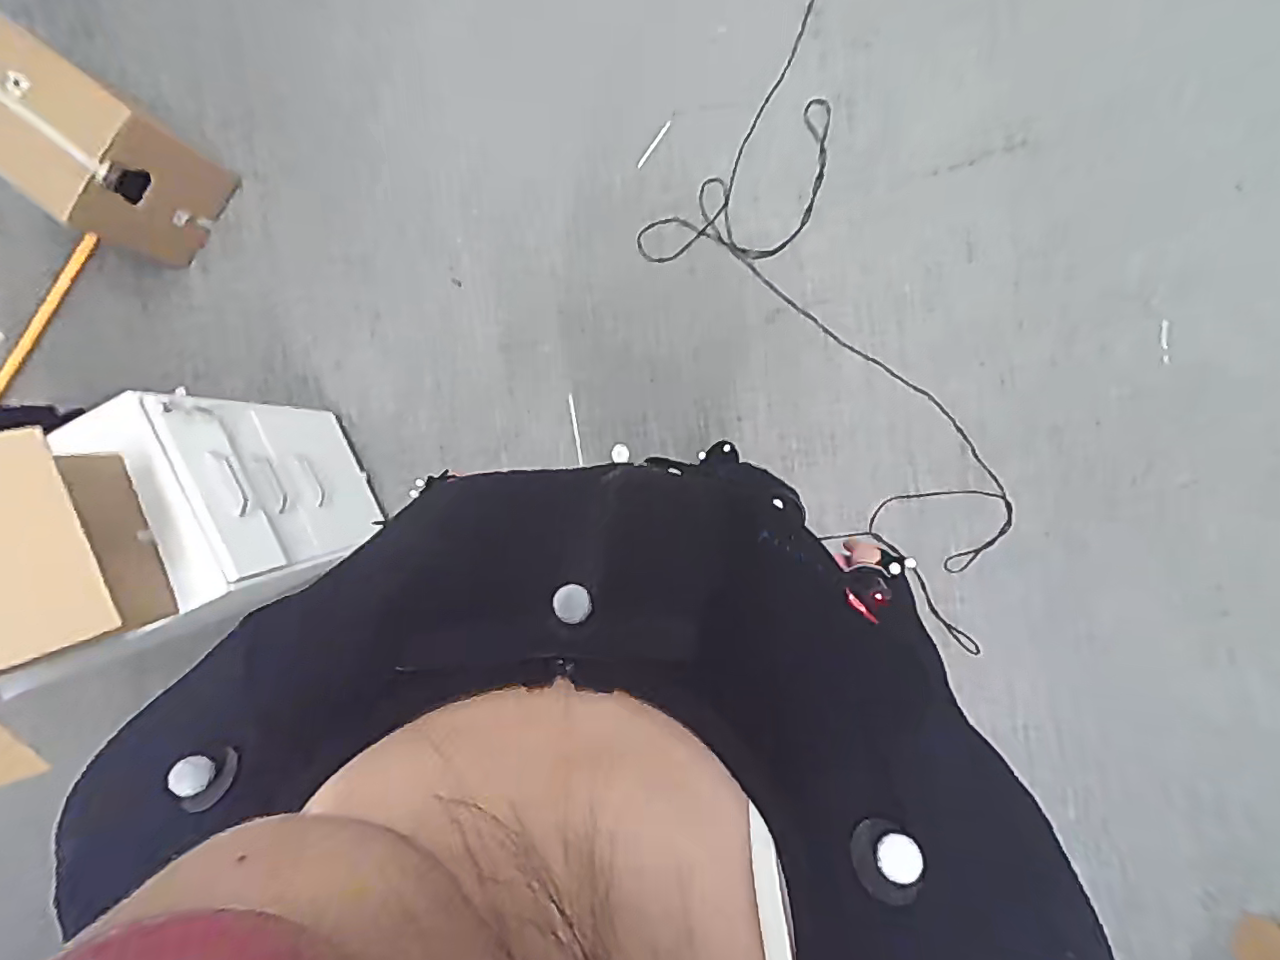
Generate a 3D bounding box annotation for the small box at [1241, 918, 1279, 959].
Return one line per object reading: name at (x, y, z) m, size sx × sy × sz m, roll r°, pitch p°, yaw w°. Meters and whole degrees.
small box at (1.661, 1.239, 1.337) m, size 0.168 × 0.176 × 0.179 m, roll 5°, pitch 93°, yaw 5°
